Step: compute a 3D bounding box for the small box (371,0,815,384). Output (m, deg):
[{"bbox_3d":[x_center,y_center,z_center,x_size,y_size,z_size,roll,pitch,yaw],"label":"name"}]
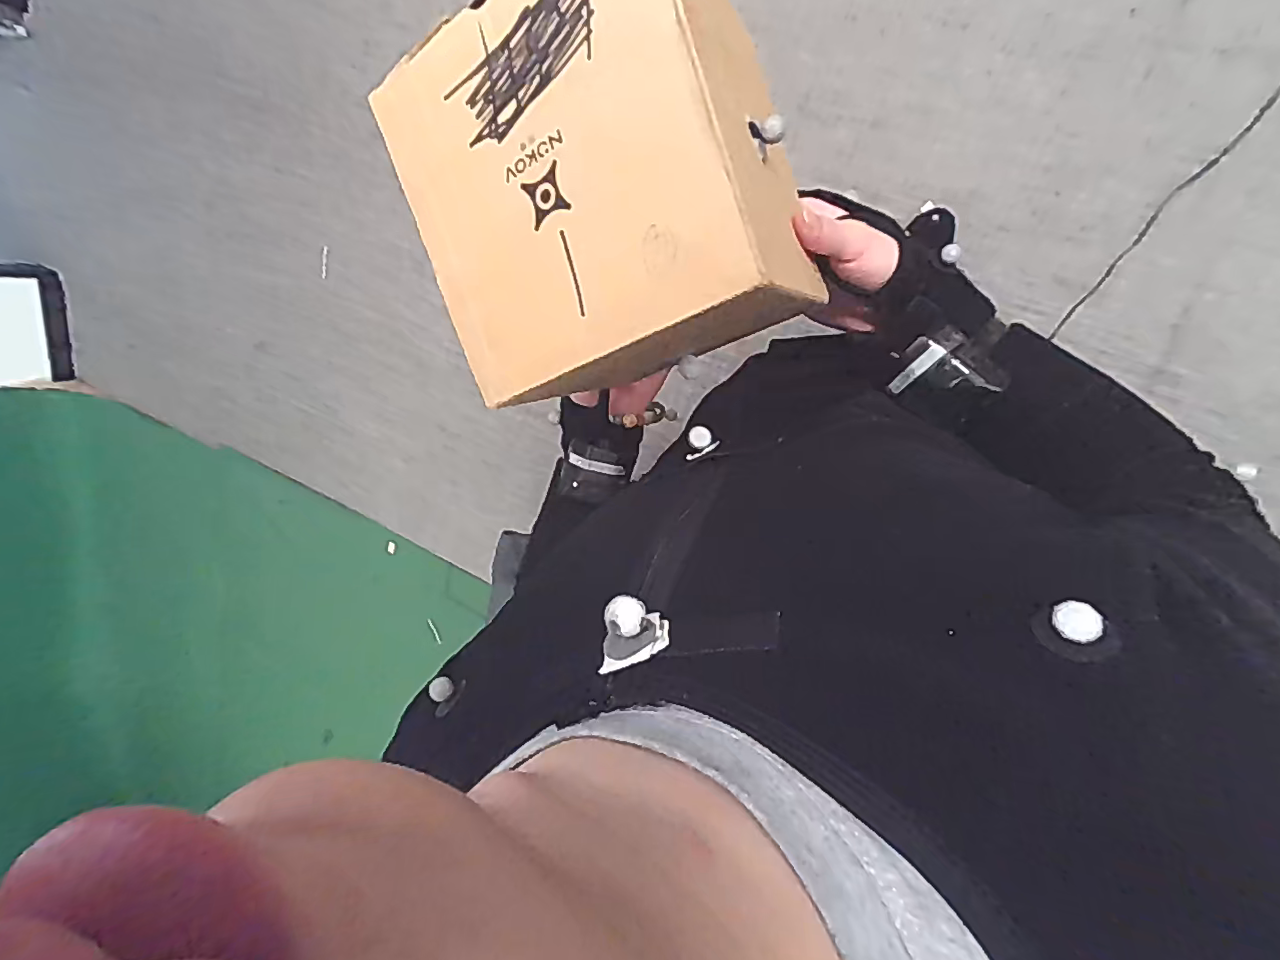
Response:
[{"bbox_3d":[-0.012,-0.169,0.320,0.168,0.176,0.179,-16,96,31],"label":"small box"}]
